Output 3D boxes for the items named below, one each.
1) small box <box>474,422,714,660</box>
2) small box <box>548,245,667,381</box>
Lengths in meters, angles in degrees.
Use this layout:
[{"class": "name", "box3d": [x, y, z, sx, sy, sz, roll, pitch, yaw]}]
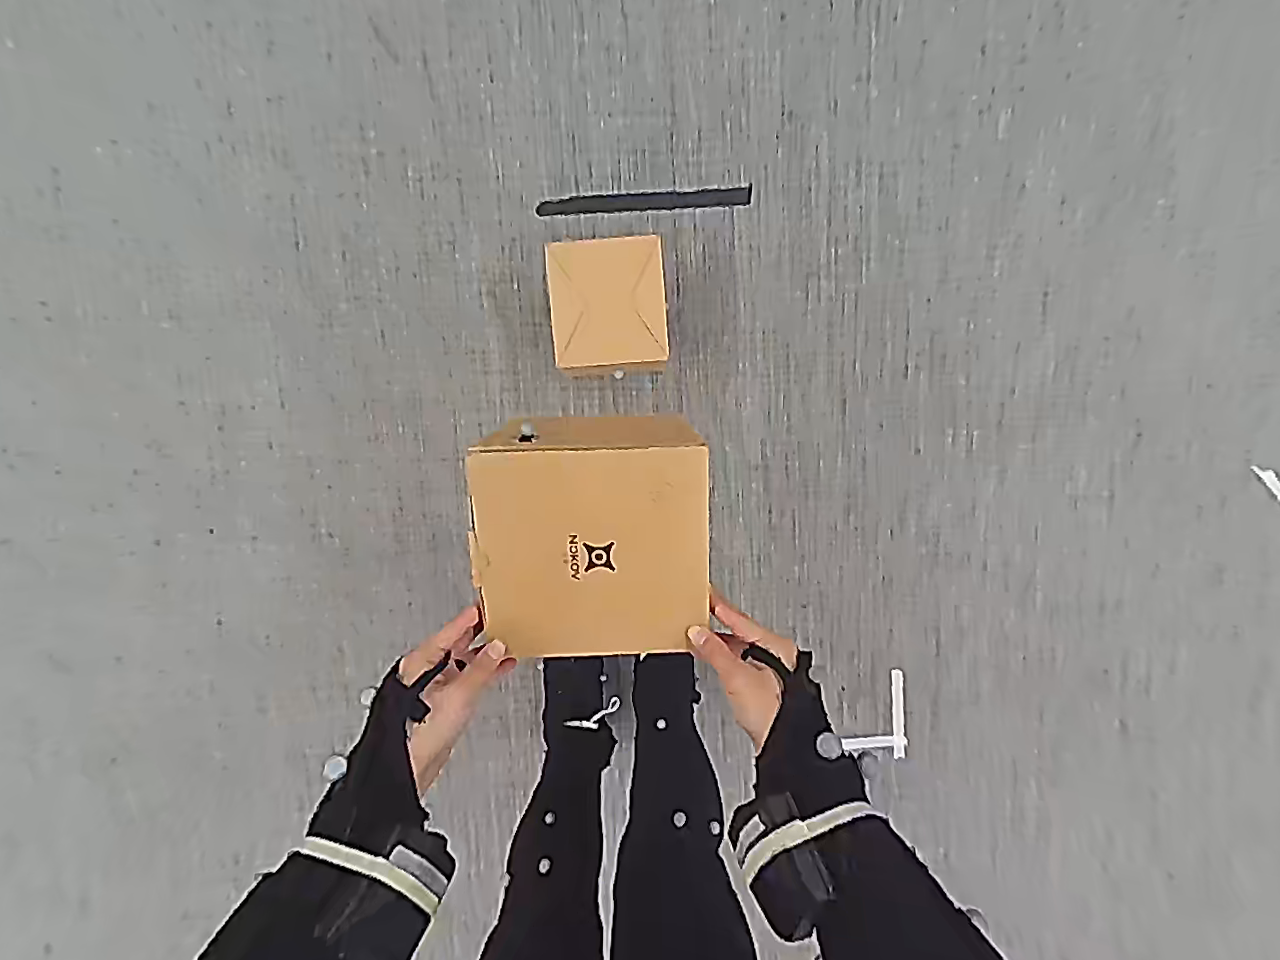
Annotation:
[{"class": "small box", "box3d": [-0.034, 0.041, 0.485, 0.179, 0.176, 0.168, -2, 104, -1]}, {"class": "small box", "box3d": [-0.047, -0.254, 0.851, 0.168, 0.176, 0.179, -4, 96, 0]}]
